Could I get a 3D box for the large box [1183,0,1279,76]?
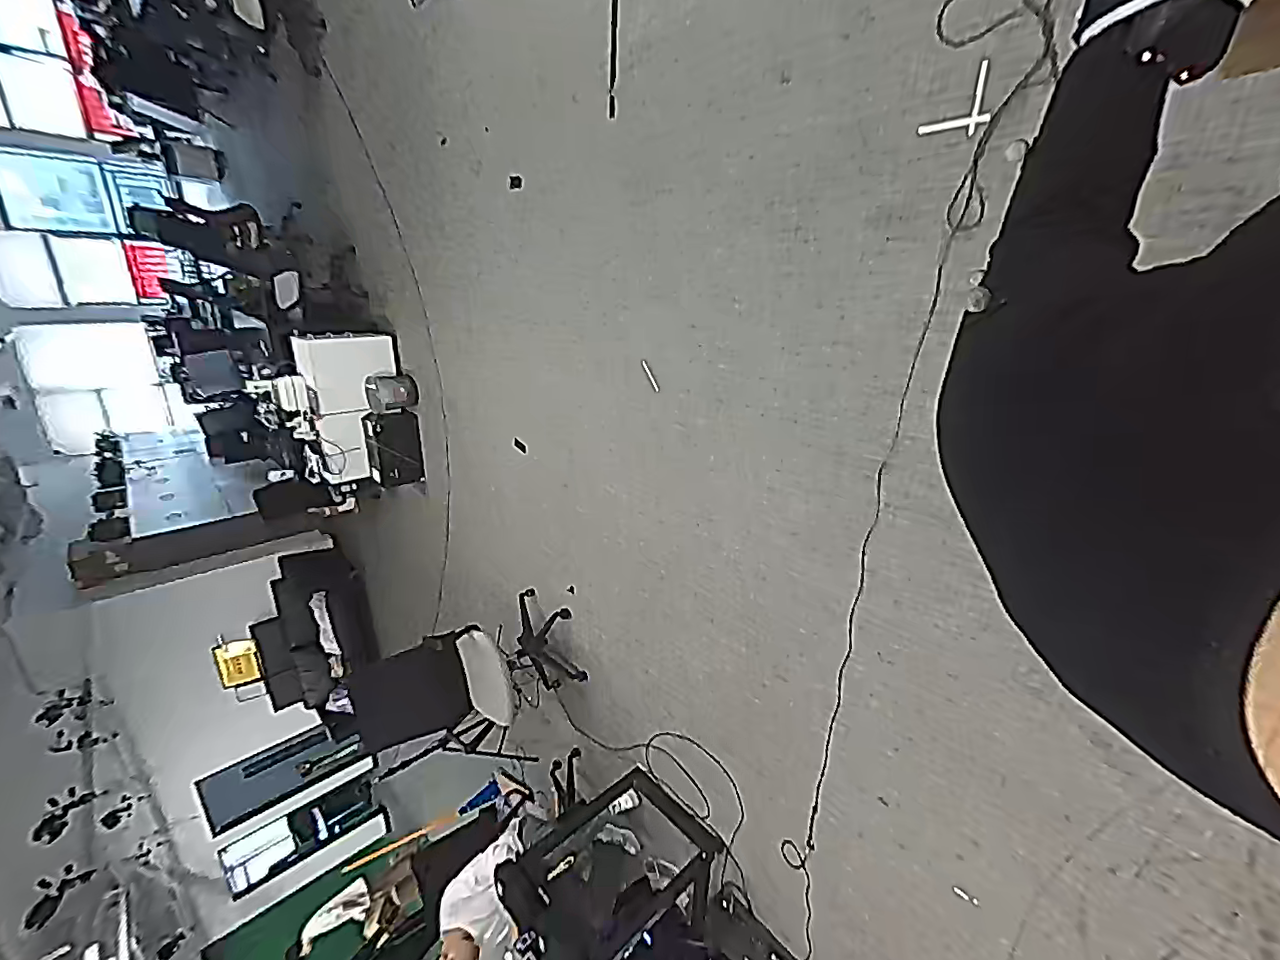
[{"bbox_3d":[0.622,-0.494,0.298,0.408,0.320,0.320,15,120,47],"label":"large box"}]
